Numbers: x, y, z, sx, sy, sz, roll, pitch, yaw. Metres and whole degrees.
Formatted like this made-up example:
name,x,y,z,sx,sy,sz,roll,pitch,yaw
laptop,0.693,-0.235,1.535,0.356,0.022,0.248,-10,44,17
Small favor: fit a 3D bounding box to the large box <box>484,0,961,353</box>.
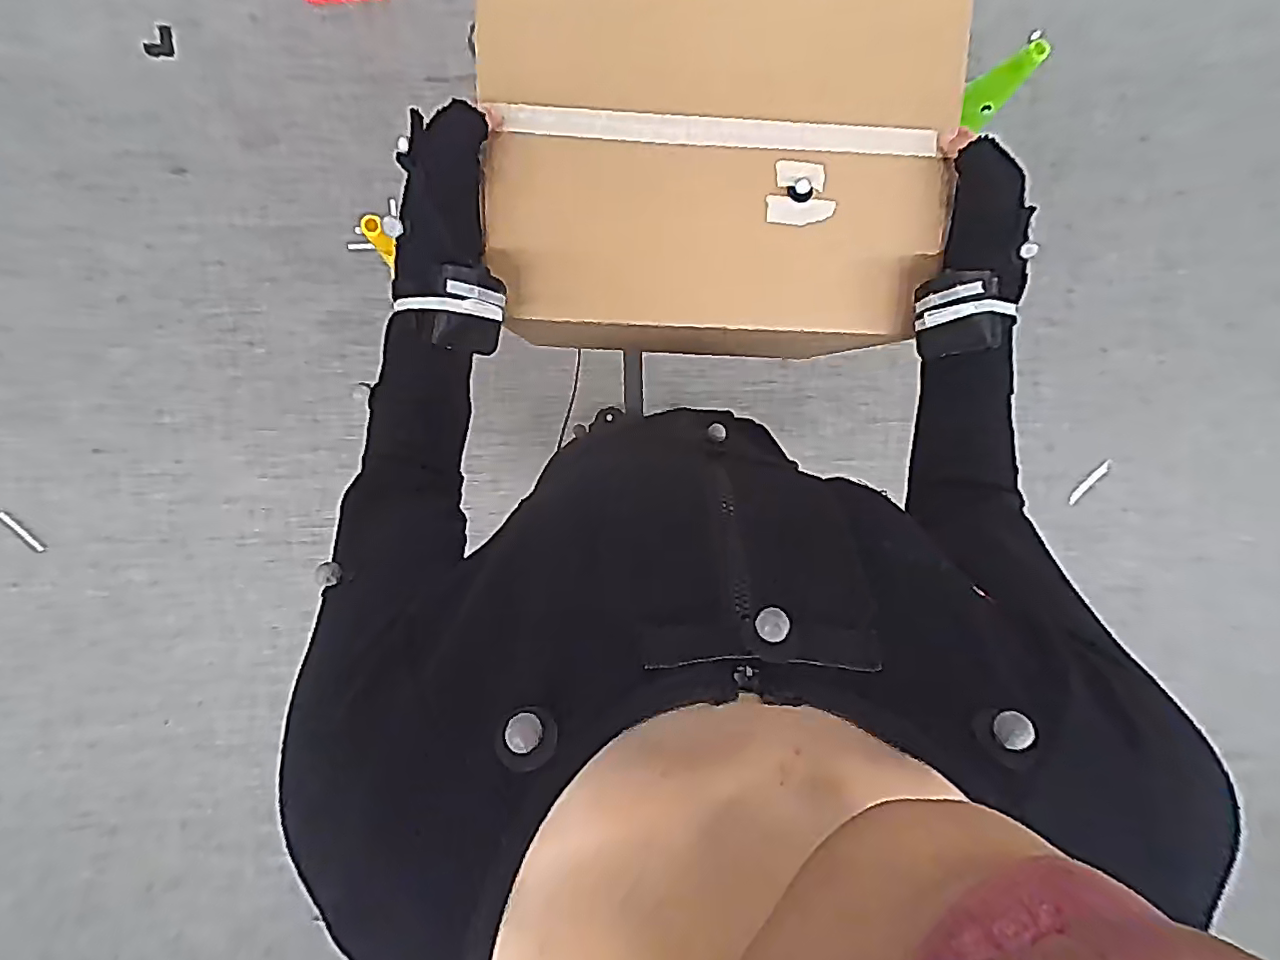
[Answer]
name,x,y,z,sx,sy,sz,roll,pitch,yaw
large box,0.059,-0.315,0.605,0.408,0.320,0.320,1,99,-4
